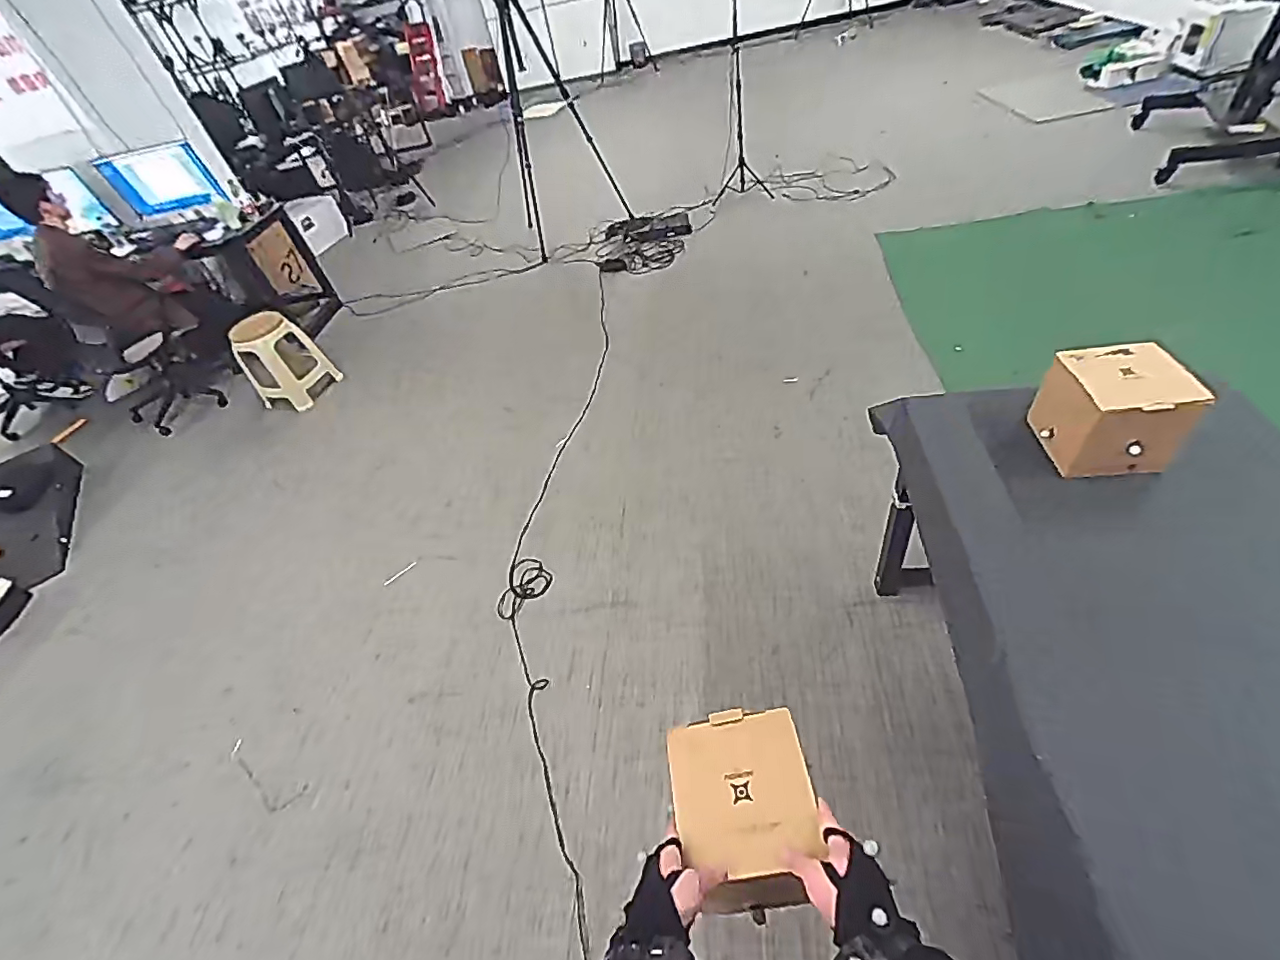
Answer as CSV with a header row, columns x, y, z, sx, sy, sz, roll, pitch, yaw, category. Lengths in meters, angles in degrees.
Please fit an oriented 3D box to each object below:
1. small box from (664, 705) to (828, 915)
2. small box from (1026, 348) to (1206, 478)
x,y,z,sx,sy,sz,roll,pitch,yaw,category
0.130,0.415,0.680,0.168,0.176,0.179,-12,40,8,small box
0.859,-0.116,1.001,0.168,0.176,0.179,-4,47,10,small box
